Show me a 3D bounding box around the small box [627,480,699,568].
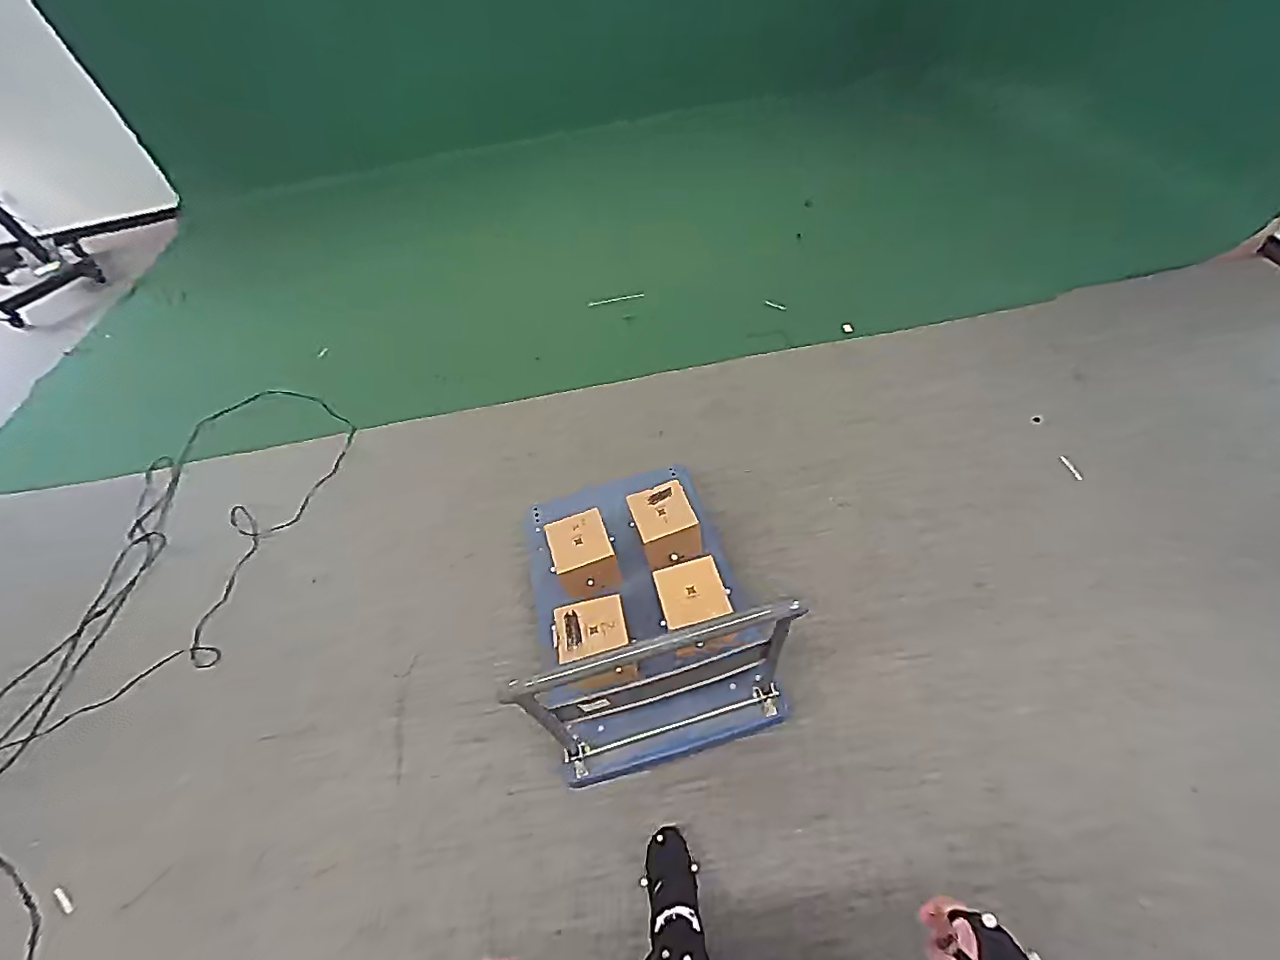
[{"bbox_3d":[0.071,0.136,1.629,0.168,0.176,0.179,-20,52,-5],"label":"small box"}]

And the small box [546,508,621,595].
[{"bbox_3d":[-0.165,0.220,1.602,0.168,0.176,0.179,-19,51,-6],"label":"small box"}]

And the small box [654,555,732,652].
[{"bbox_3d":[0.142,0.336,1.461,0.168,0.176,0.179,-16,52,-3],"label":"small box"}]
